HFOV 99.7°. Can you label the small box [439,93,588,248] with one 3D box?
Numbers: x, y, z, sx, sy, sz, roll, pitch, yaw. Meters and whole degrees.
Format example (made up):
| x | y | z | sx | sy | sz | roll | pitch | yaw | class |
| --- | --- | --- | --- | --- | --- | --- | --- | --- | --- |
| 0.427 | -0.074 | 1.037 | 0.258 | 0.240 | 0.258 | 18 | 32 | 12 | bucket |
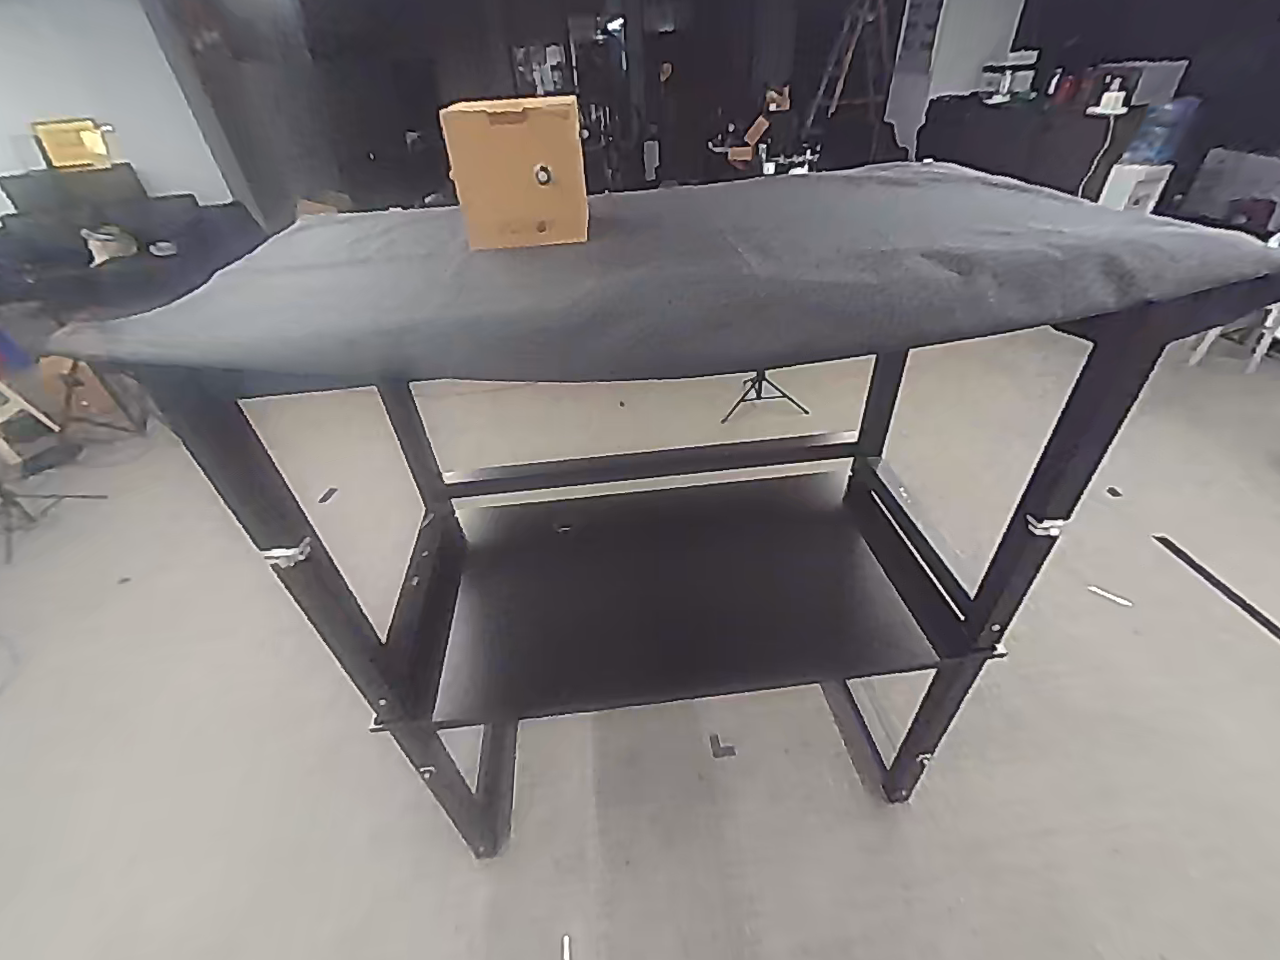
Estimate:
| x | y | z | sx | sy | sz | roll | pitch | yaw | class |
| --- | --- | --- | --- | --- | --- | --- | --- | --- | --- |
| -0.165 | -0.439 | 0.773 | 0.168 | 0.176 | 0.179 | -4 | 39 | -1 | small box |
